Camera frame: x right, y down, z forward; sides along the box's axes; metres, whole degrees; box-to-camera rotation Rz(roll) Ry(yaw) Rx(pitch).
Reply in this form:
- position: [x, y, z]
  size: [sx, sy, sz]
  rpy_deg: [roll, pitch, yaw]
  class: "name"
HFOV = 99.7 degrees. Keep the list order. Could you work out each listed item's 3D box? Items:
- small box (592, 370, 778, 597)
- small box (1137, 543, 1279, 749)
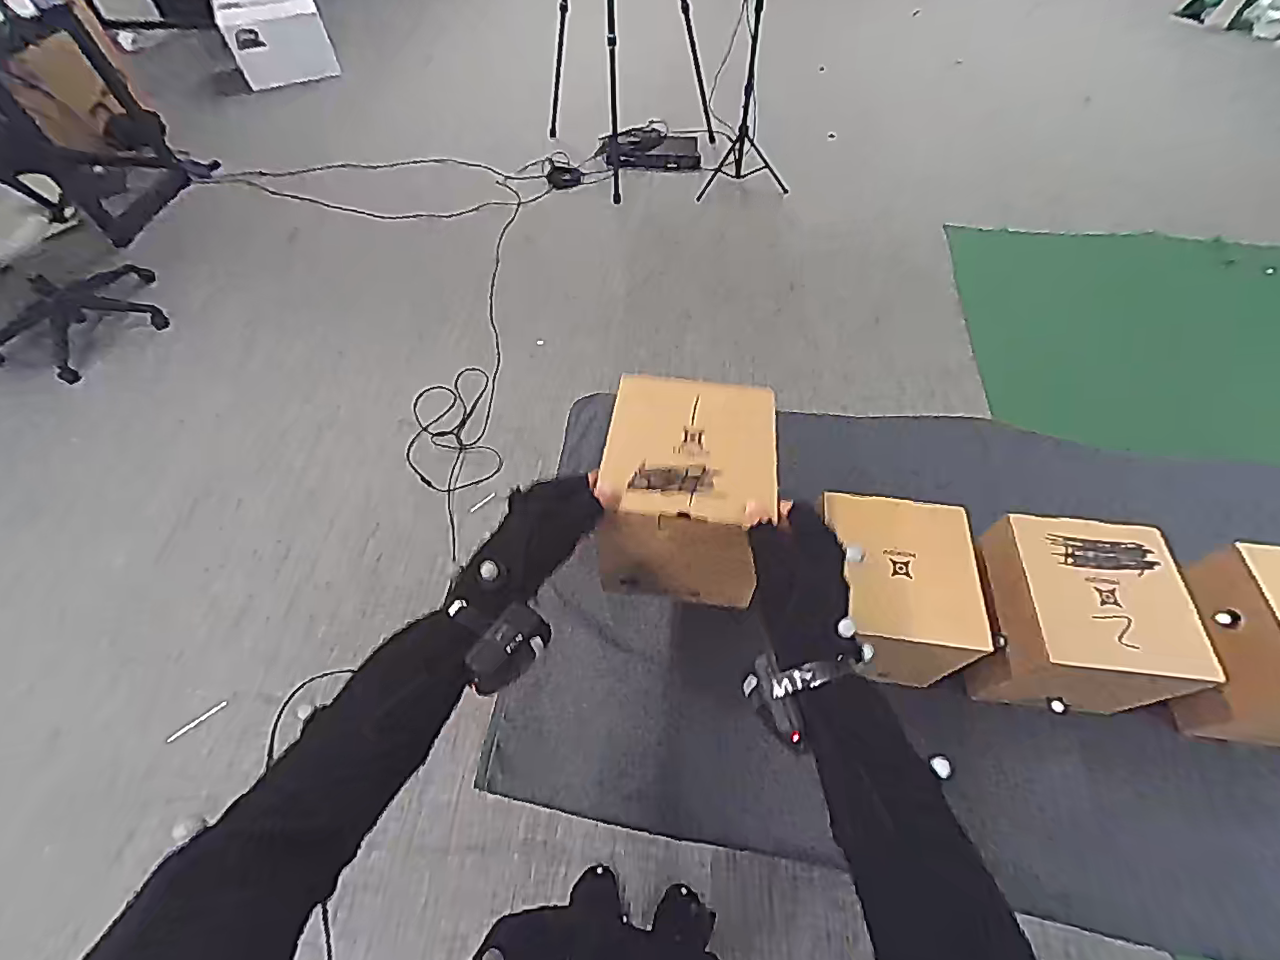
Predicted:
- position: [0.051, 0.008, 0.581]
  size: [0.168, 0.176, 0.179]
  rpy_deg: [6, 52, 5]
  class: "small box"
- position: [0.734, 0.195, 0.618]
  size: [0.168, 0.176, 0.179]
  rpy_deg: [6, 56, 6]
  class: "small box"
